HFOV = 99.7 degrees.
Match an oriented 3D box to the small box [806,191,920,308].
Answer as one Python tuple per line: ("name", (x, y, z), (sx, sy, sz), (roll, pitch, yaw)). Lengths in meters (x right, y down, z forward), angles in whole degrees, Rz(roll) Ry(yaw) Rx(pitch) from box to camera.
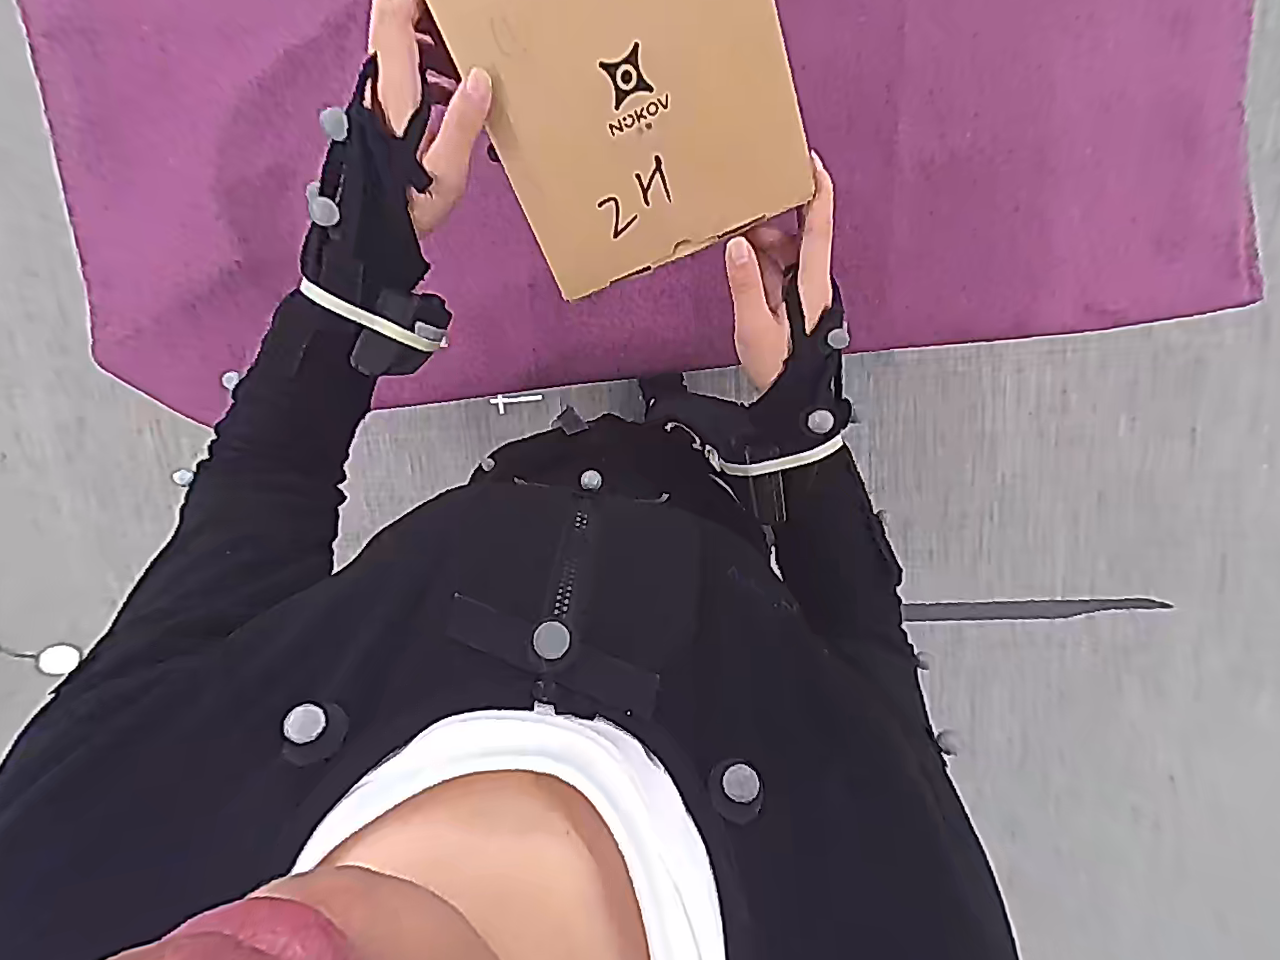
("small box", (0.423, -0.435, 1.050), (0.168, 0.176, 0.179), (-3, 100, 6))
